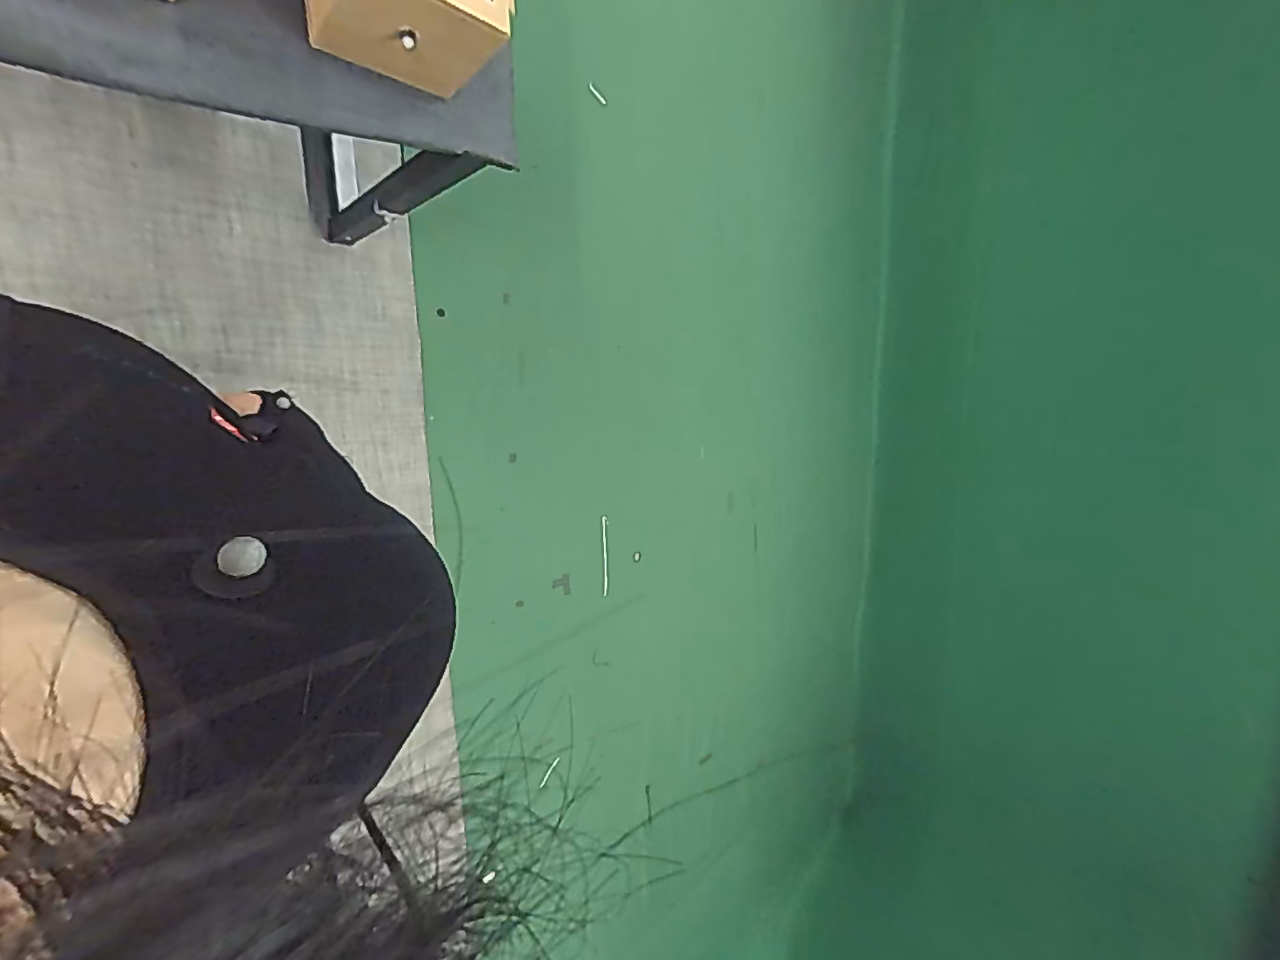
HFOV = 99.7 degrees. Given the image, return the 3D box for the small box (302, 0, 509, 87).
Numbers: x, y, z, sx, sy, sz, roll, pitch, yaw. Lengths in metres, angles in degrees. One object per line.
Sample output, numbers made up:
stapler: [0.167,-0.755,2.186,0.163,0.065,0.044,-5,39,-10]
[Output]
small box: [-0.273,-0.598,0.624,0.179,0.176,0.168,-8,99,-43]
